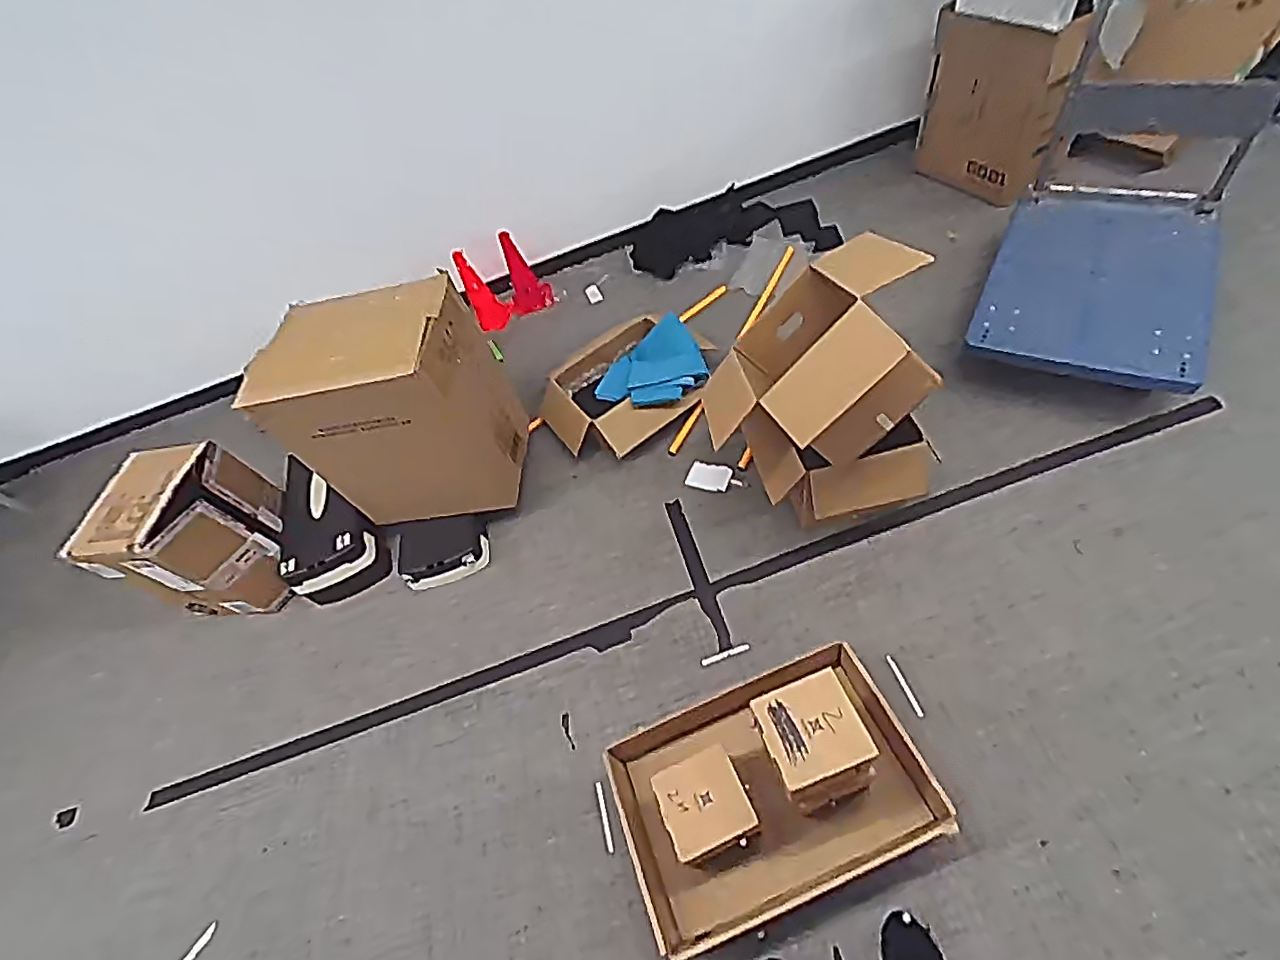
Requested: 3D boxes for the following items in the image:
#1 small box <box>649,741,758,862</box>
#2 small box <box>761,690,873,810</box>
[{"bbox_3d":[0.140,0.696,1.169,0.179,0.176,0.168,-25,52,-4],"label":"small box"},{"bbox_3d":[0.378,0.593,1.180,0.168,0.176,0.179,-24,53,-1],"label":"small box"}]
